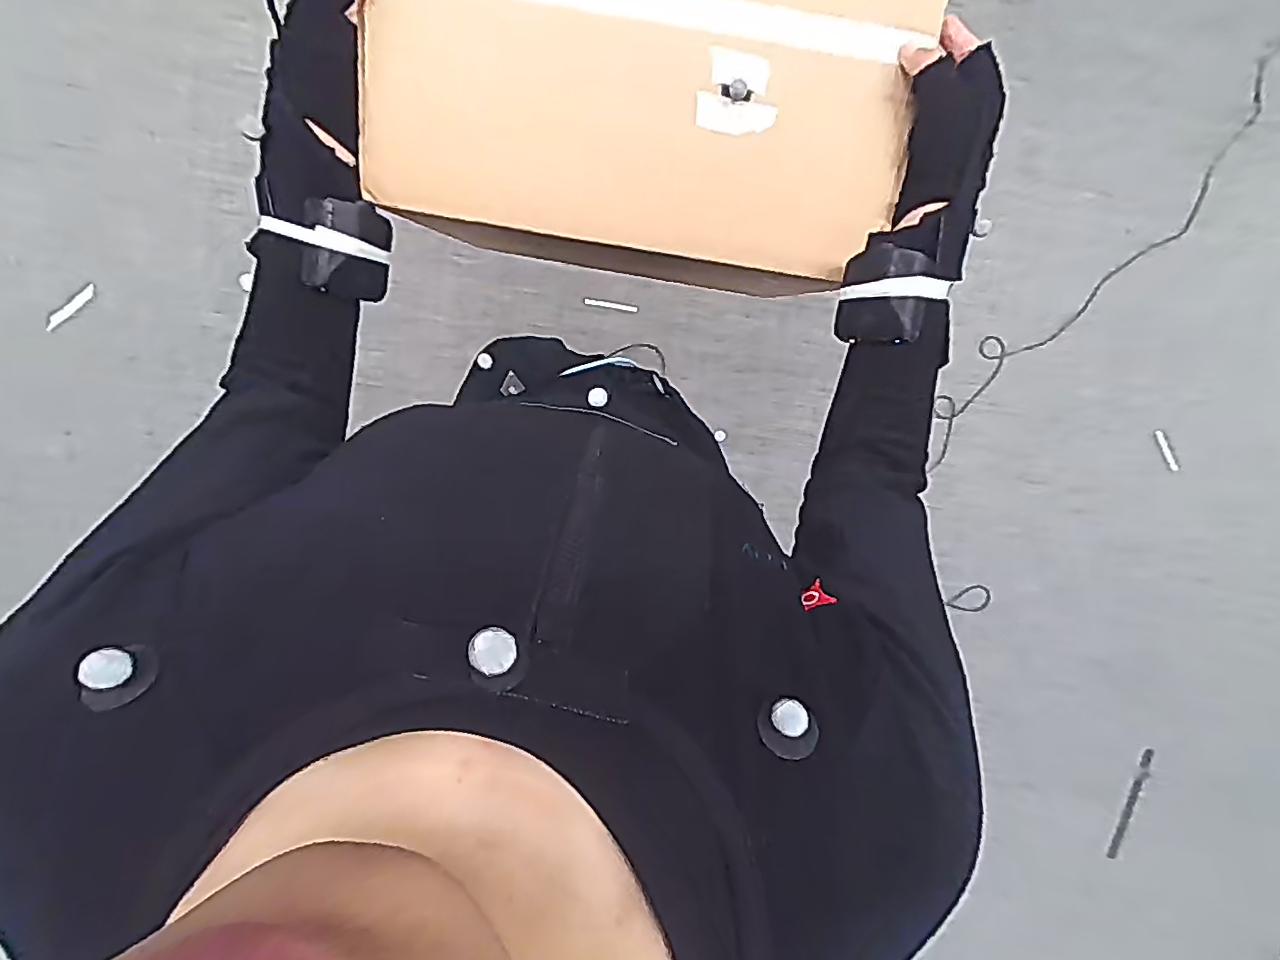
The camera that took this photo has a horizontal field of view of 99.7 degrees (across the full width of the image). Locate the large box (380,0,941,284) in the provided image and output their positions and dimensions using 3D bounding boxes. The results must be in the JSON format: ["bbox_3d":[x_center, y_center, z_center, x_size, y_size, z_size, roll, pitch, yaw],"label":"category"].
[{"bbox_3d":[0.010,-0.385,0.528,0.408,0.320,0.320,8,108,-5],"label":"large box"}]
